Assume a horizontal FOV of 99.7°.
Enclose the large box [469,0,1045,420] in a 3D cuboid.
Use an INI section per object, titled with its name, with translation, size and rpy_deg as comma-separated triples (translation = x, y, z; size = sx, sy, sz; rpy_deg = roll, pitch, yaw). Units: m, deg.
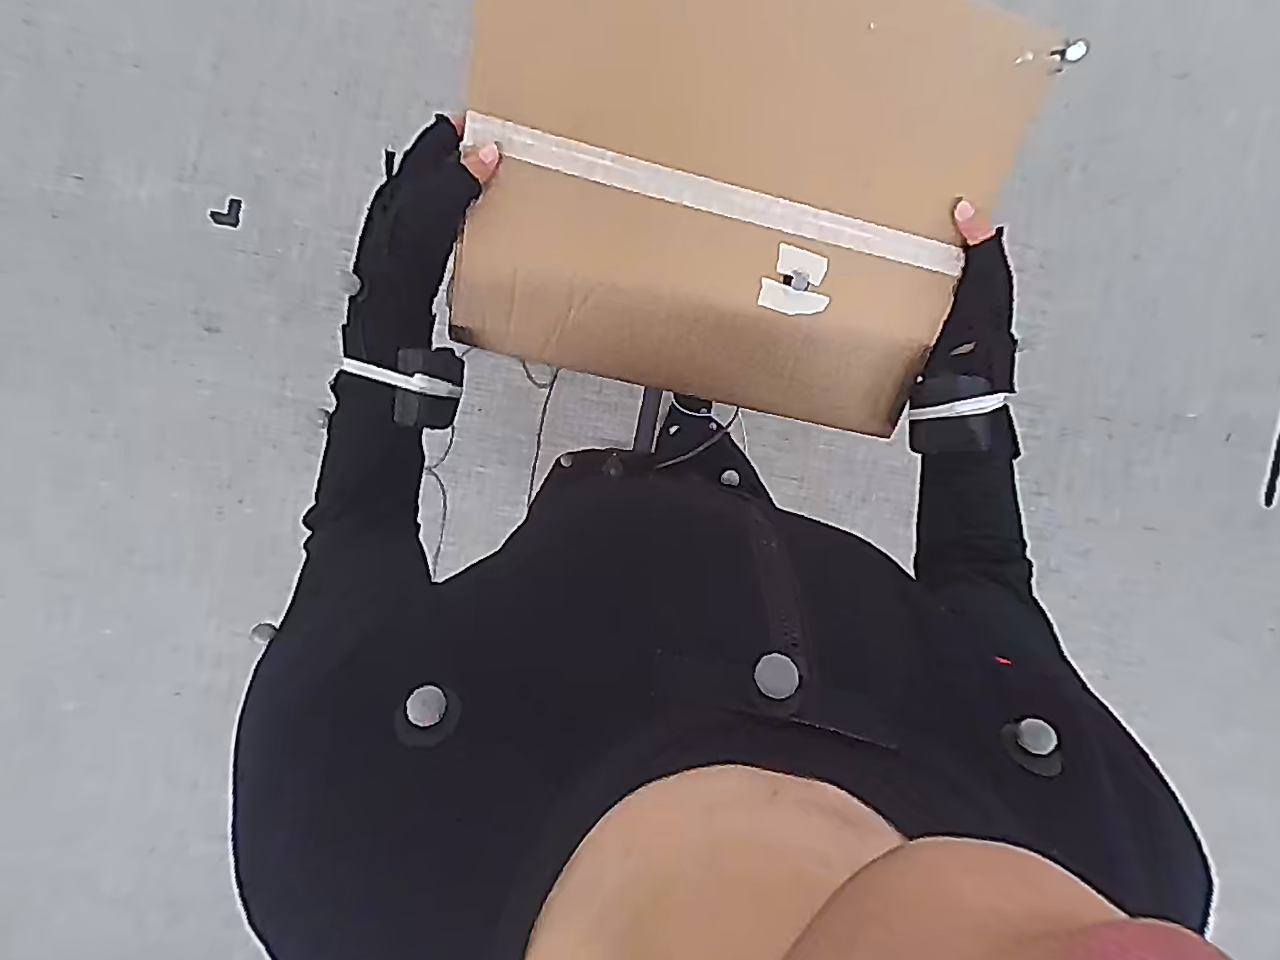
[large box]
translation = 0.068, -0.292, 0.569
size = 0.408, 0.320, 0.320
rpy_deg = 12, 116, -8
